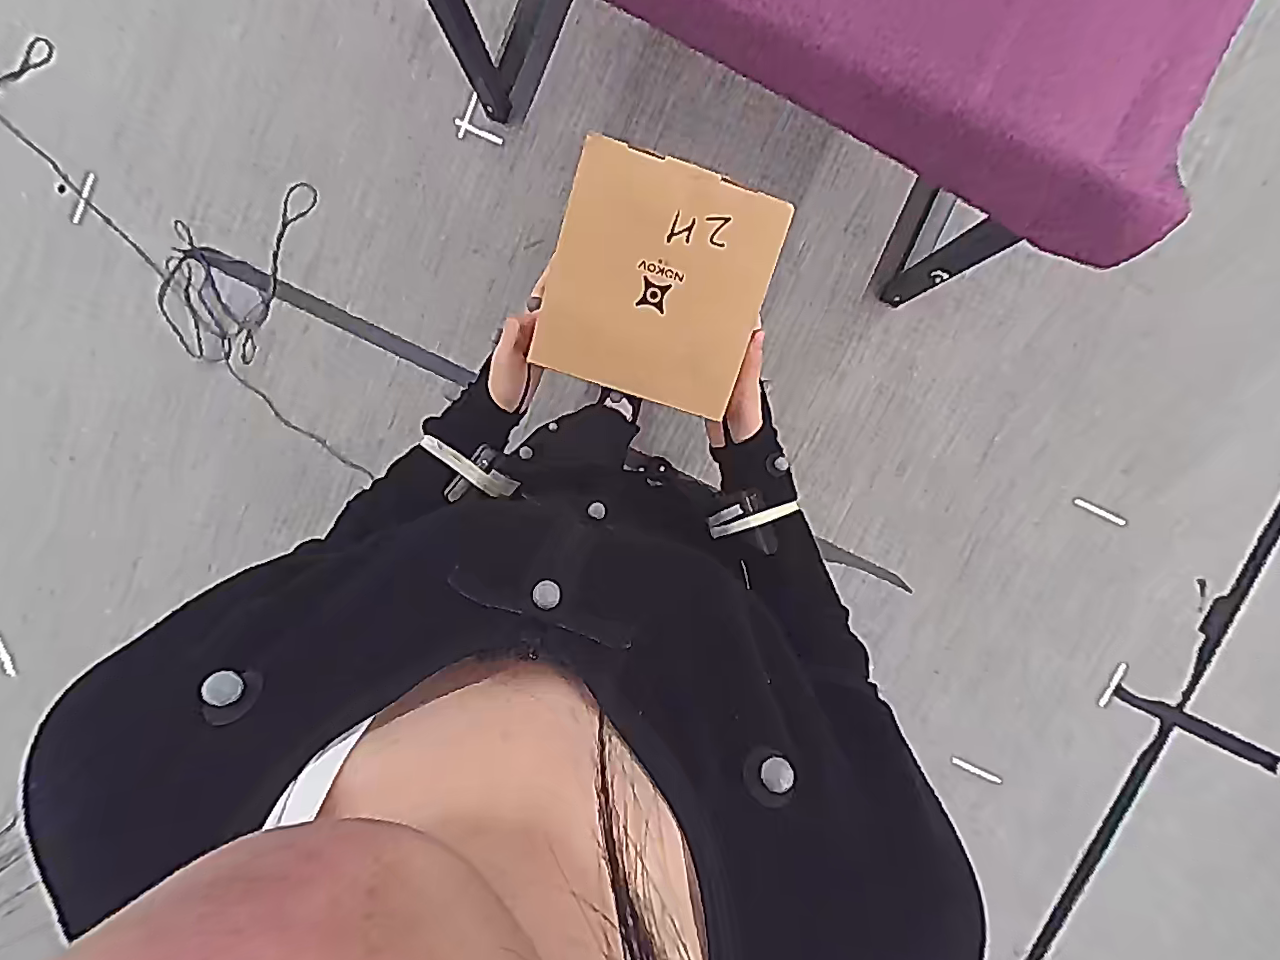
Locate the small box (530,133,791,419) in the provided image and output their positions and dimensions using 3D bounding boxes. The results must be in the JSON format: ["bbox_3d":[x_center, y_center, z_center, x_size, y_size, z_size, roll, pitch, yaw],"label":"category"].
[{"bbox_3d":[0.012,-0.170,0.502,0.168,0.176,0.179,17,100,-6],"label":"small box"}]
